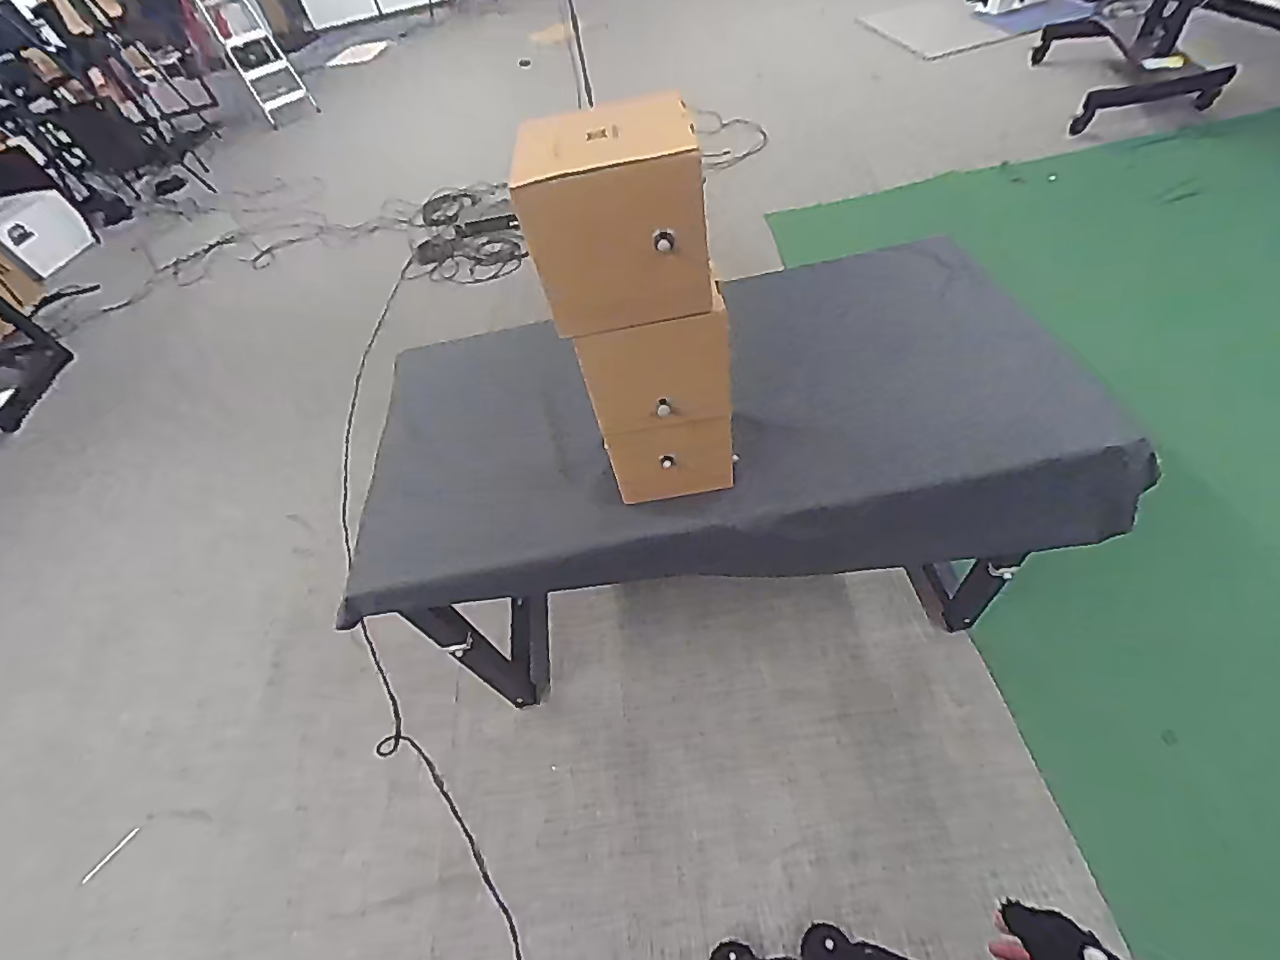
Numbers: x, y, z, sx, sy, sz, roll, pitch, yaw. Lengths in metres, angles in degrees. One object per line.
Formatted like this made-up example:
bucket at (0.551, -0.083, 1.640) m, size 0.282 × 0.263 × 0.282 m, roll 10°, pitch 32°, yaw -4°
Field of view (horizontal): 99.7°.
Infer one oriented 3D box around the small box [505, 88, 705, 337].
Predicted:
small box at (-0.028, -0.283, 0.586) m, size 0.179 × 0.176 × 0.168 m, roll -11°, pitch 51°, yaw 6°

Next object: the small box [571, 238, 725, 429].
small box at (0.013, -0.189, 0.714) m, size 0.179 × 0.176 × 0.168 m, roll -9°, pitch 52°, yaw 4°

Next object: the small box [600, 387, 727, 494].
small box at (0.040, -0.097, 0.843) m, size 0.179 × 0.176 × 0.168 m, roll -8°, pitch 50°, yaw 6°
